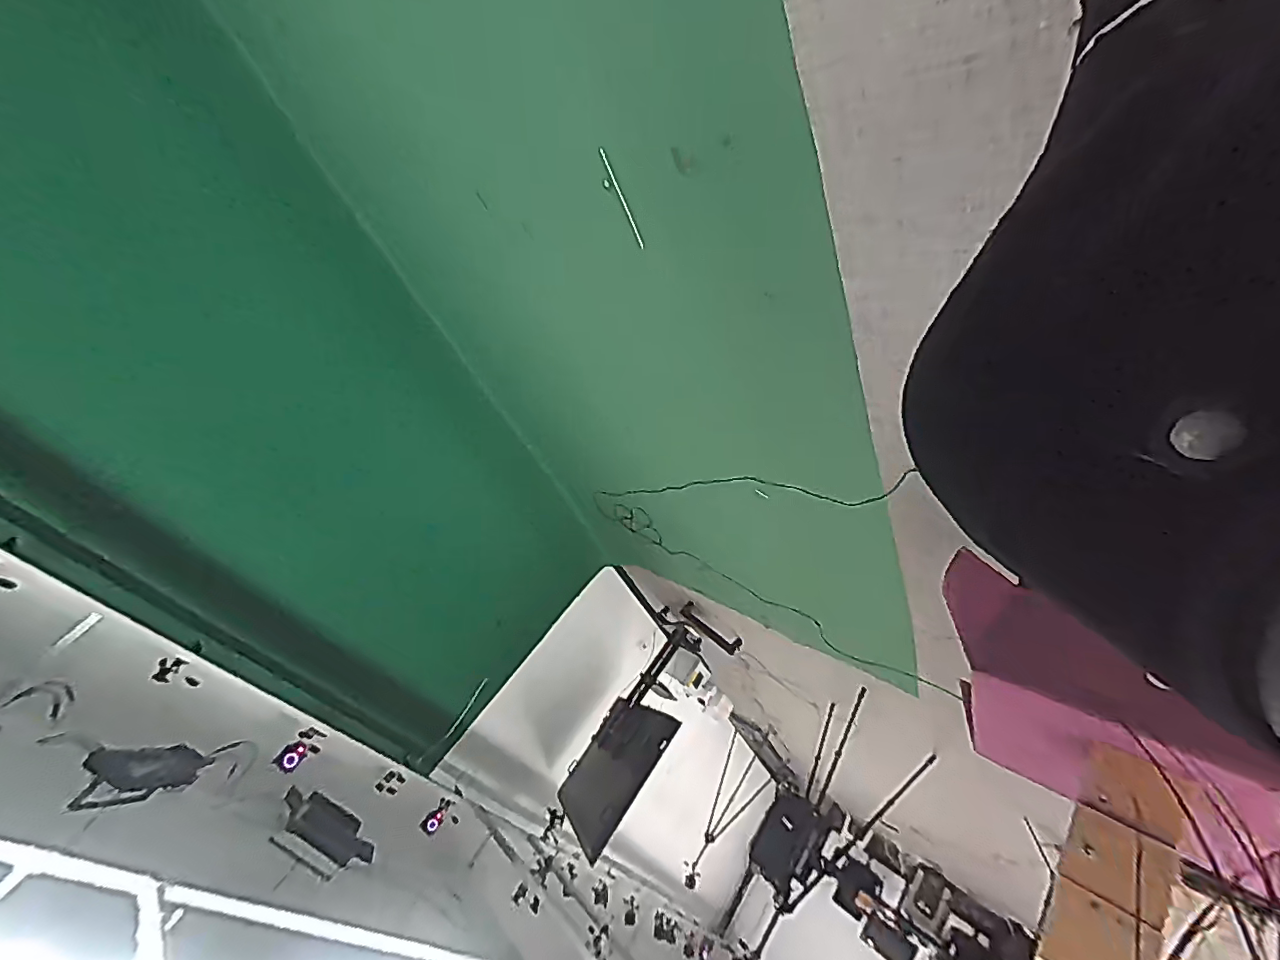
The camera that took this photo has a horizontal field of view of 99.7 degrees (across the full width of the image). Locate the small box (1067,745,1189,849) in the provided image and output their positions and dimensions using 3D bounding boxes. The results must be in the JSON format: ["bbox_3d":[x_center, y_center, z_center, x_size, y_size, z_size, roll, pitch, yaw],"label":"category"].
[{"bbox_3d":[1.136,0.754,1.265,0.179,0.176,0.168,15,147,46],"label":"small box"}]

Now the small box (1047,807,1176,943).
[{"bbox_3d":[1.032,0.856,1.191,0.179,0.176,0.168,16,148,44],"label":"small box"}]
